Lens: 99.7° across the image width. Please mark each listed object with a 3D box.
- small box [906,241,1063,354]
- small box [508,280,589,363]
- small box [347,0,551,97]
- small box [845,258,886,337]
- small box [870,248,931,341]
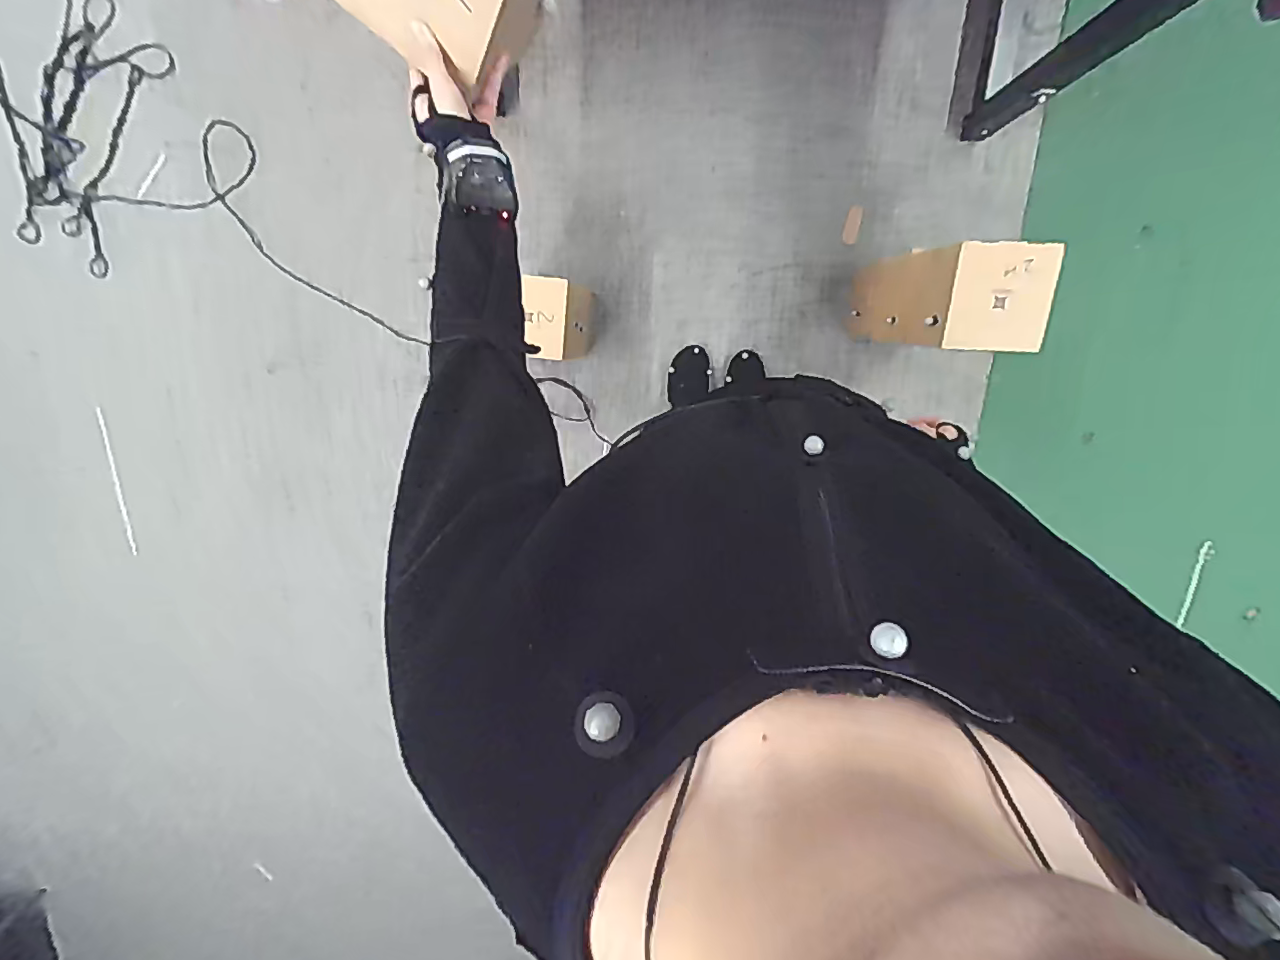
[{"bbox_3d":[0.605,-0.327,0.978,0.168,0.176,0.179,3,107,3],"label":"small box"},{"bbox_3d":[-0.225,-0.398,1.360,0.168,0.176,0.179,7,106,2],"label":"small box"},{"bbox_3d":[-0.171,-0.510,0.491,0.179,0.176,0.168,33,143,-20],"label":"small box"},{"bbox_3d":[0.608,-0.427,1.291,0.179,0.176,0.168,5,106,2],"label":"small box"},{"bbox_3d":[0.602,-0.382,1.136,0.168,0.176,0.179,2,107,3],"label":"small box"}]
